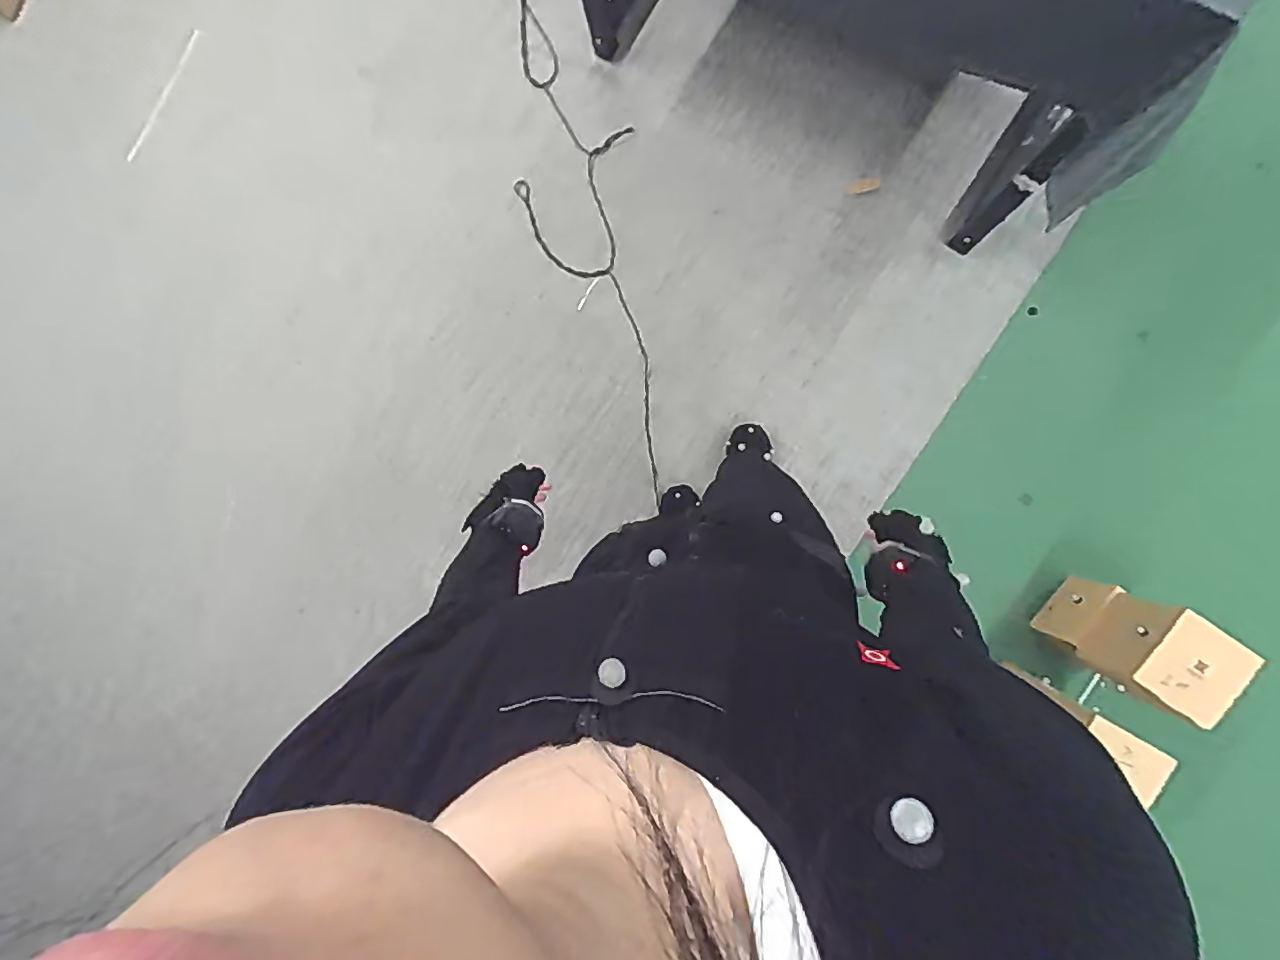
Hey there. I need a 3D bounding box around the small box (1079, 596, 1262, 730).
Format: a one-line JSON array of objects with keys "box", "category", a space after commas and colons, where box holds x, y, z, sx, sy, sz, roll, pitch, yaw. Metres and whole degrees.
[{"box": [1.068, 0.361, 1.109, 0.168, 0.176, 0.179, 37, 92, 6], "category": "small box"}]

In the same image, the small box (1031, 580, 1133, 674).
[{"box": [1.083, 0.352, 1.274, 0.179, 0.176, 0.168, 38, 93, 6], "category": "small box"}]
